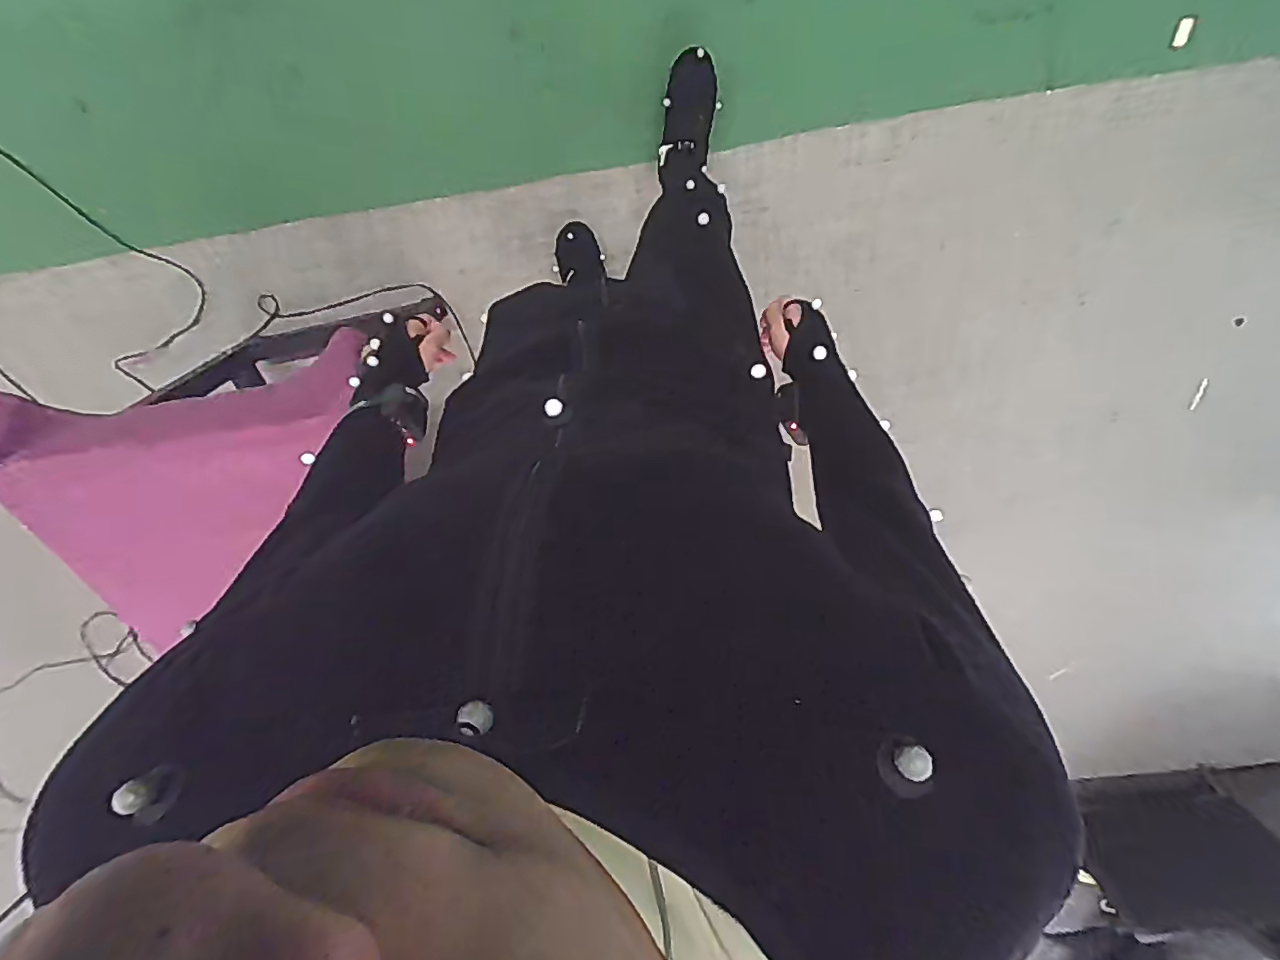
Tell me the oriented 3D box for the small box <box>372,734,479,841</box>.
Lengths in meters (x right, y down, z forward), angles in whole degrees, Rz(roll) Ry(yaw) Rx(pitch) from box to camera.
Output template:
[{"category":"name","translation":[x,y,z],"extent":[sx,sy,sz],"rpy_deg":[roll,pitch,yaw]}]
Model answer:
[{"category":"small box","translation":[-0.503,0.737,1.306],"extent":[0.179,0.176,0.168],"rpy_deg":[-10,124,5]}]
